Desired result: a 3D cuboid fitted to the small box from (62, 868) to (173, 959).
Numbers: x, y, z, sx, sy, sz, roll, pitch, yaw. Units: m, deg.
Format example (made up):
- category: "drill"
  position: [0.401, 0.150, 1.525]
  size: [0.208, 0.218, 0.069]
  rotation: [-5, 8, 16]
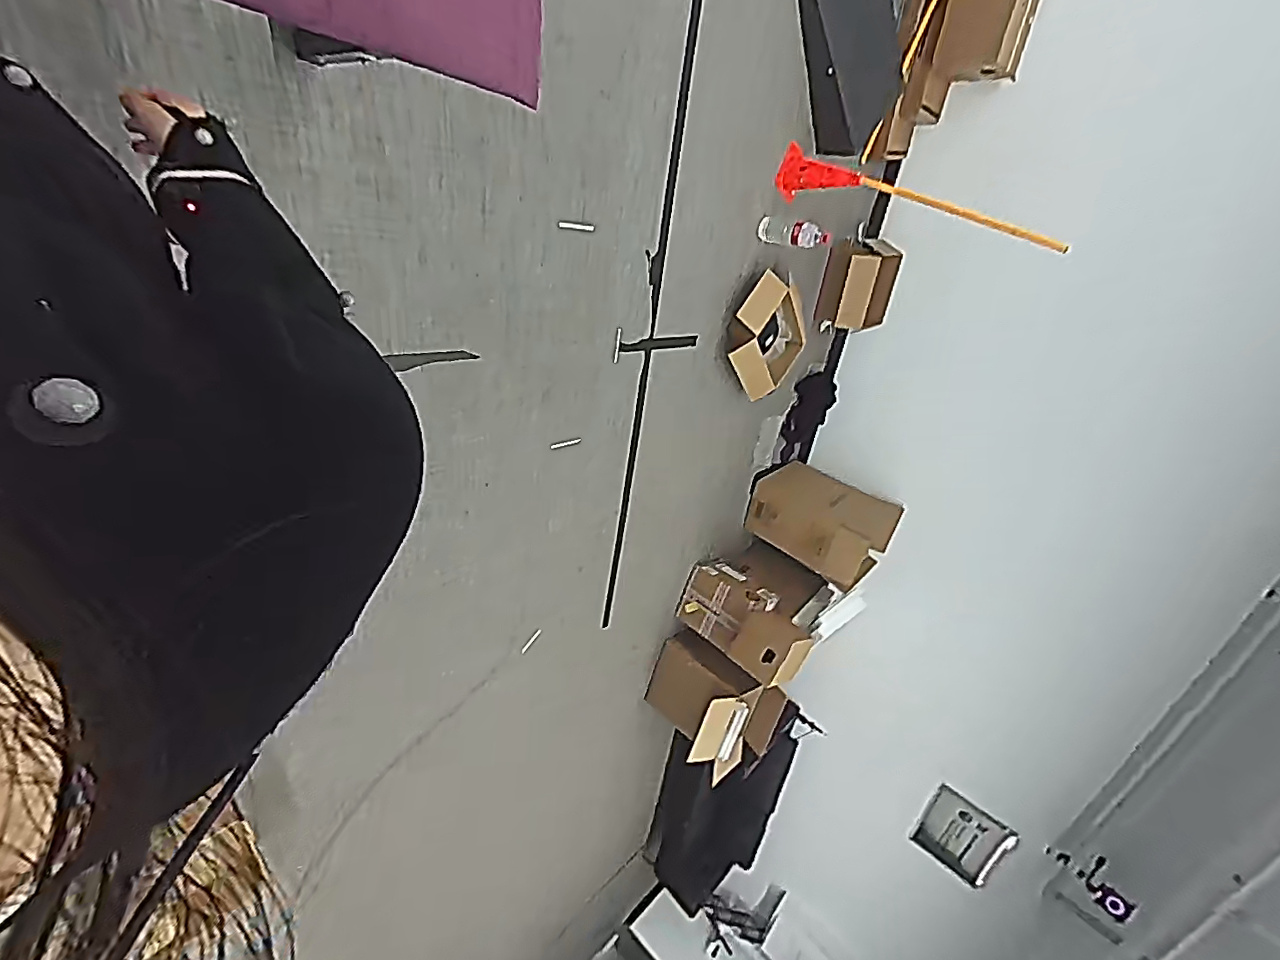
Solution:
- category: "small box"
  position: [-1.432, 1.223, 1.485]
  size: [0.168, 0.176, 0.179]
  rotation: [-27, 134, -42]
